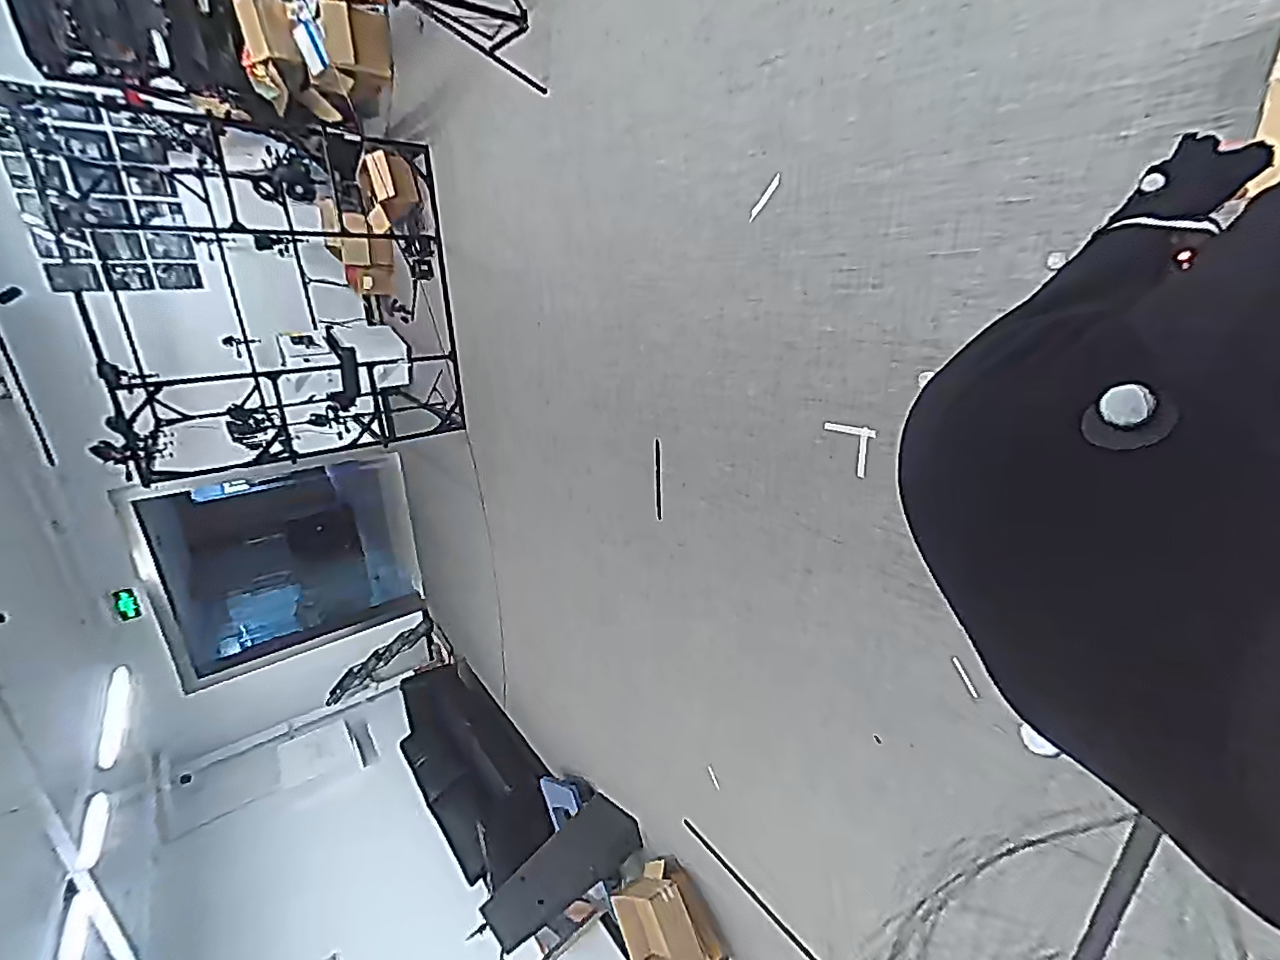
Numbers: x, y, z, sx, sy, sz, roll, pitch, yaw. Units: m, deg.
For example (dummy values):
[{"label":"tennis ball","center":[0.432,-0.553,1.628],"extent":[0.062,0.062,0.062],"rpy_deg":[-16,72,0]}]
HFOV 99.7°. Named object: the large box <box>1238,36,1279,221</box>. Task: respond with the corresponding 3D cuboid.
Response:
[{"label":"large box","center":[1.098,-0.534,0.680],"extent":[0.408,0.320,0.320],"rpy_deg":[20,118,48]}]
